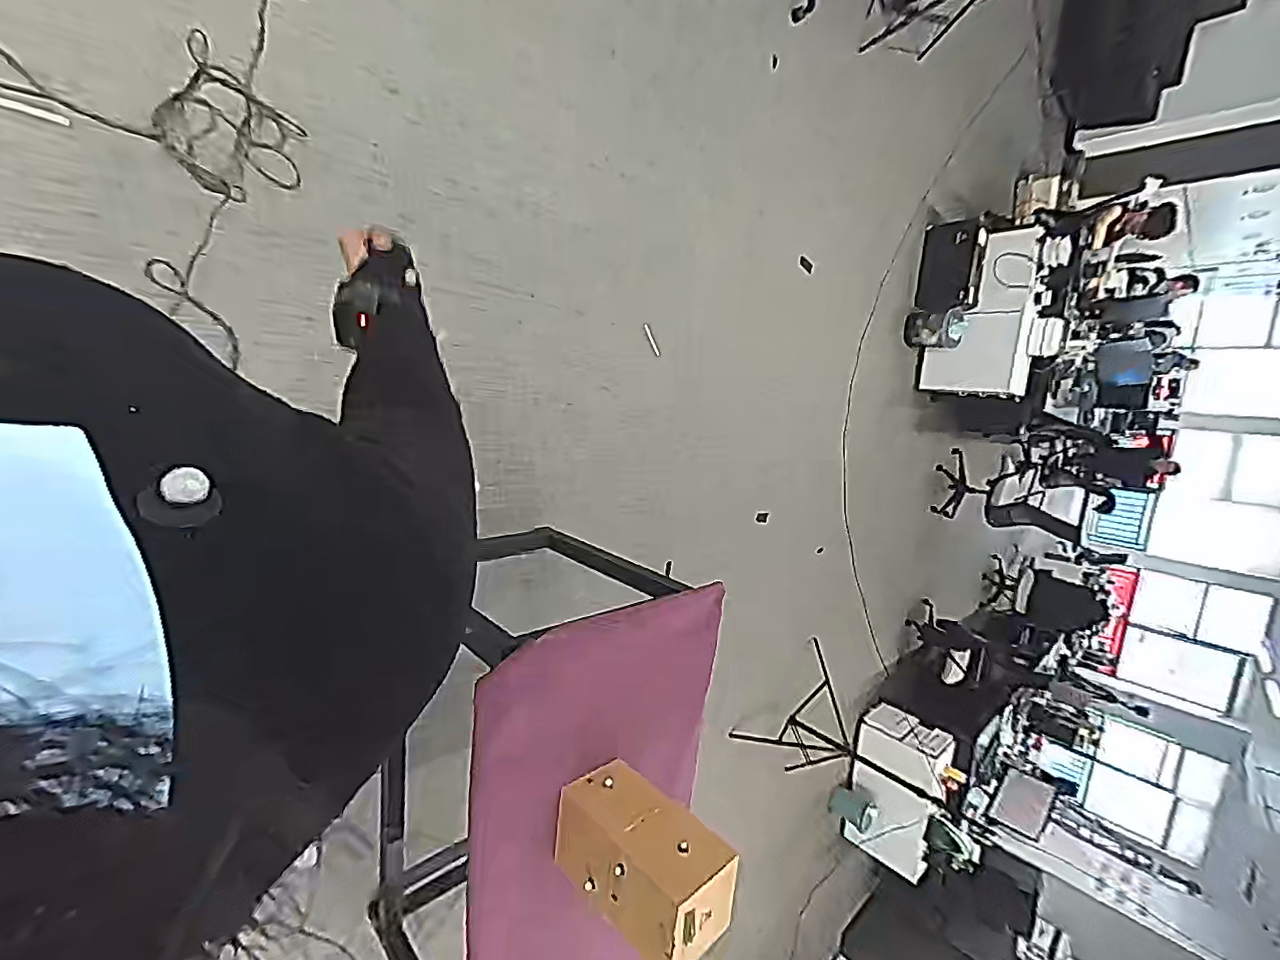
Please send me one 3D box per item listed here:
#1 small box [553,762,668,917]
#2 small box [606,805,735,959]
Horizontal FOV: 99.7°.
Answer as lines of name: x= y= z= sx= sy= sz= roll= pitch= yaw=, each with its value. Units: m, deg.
small box: x=-0.065 y=0.736 z=1.131 sx=0.168 sy=0.176 sz=0.179 roll=-1 pitch=101 yaw=-45
small box: x=0.053 y=0.765 z=1.021 sx=0.179 sy=0.176 sz=0.168 roll=-4 pitch=103 yaw=-44
